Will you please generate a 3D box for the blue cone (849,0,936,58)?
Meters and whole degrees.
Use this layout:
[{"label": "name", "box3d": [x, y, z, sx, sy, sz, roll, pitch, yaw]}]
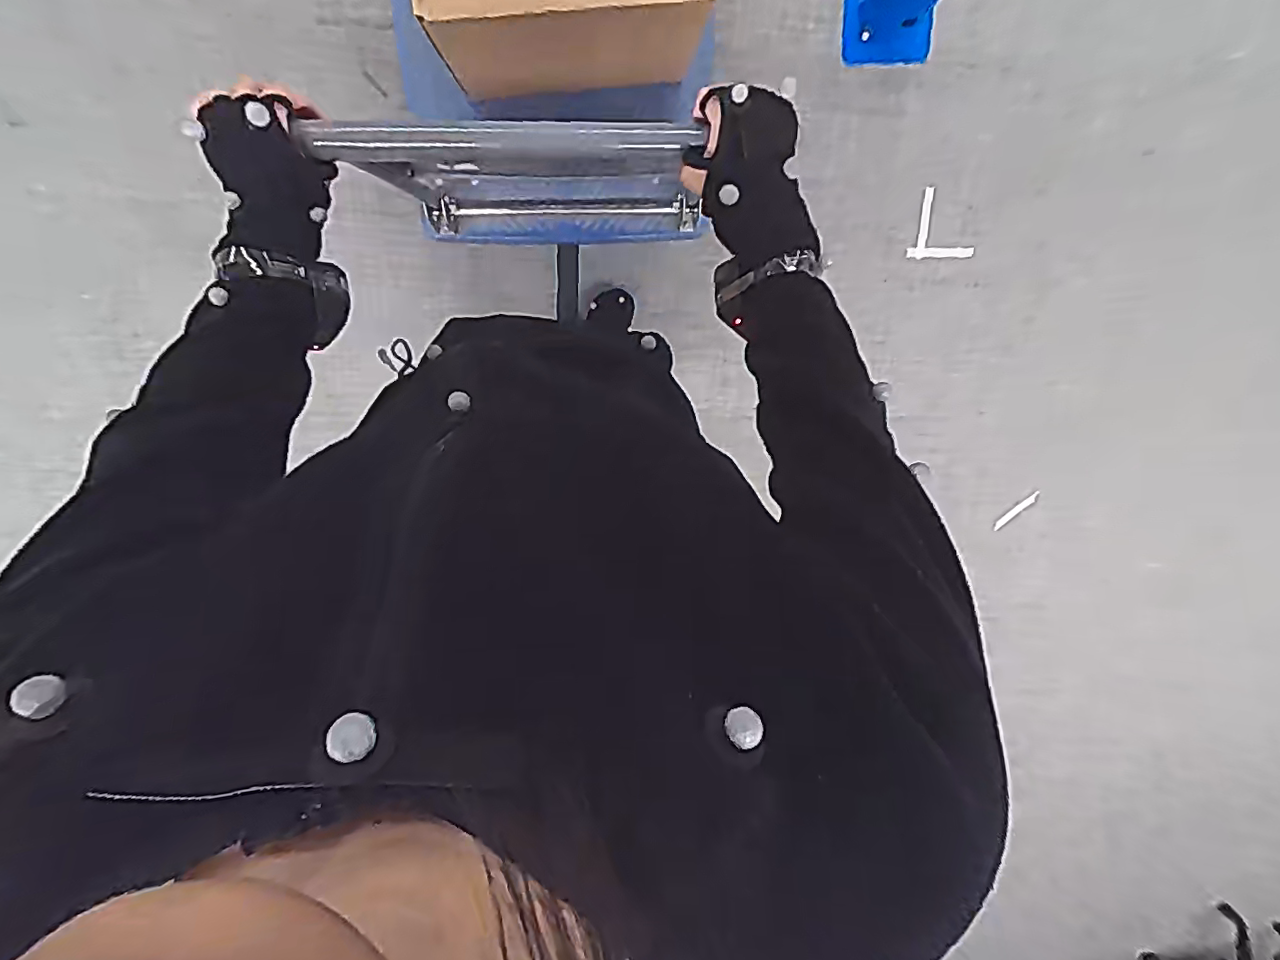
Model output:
[{"label": "blue cone", "box3d": [0.555, -0.968, 1.002, 0.193, 0.380, 0.192, -3, 108, -5]}]
